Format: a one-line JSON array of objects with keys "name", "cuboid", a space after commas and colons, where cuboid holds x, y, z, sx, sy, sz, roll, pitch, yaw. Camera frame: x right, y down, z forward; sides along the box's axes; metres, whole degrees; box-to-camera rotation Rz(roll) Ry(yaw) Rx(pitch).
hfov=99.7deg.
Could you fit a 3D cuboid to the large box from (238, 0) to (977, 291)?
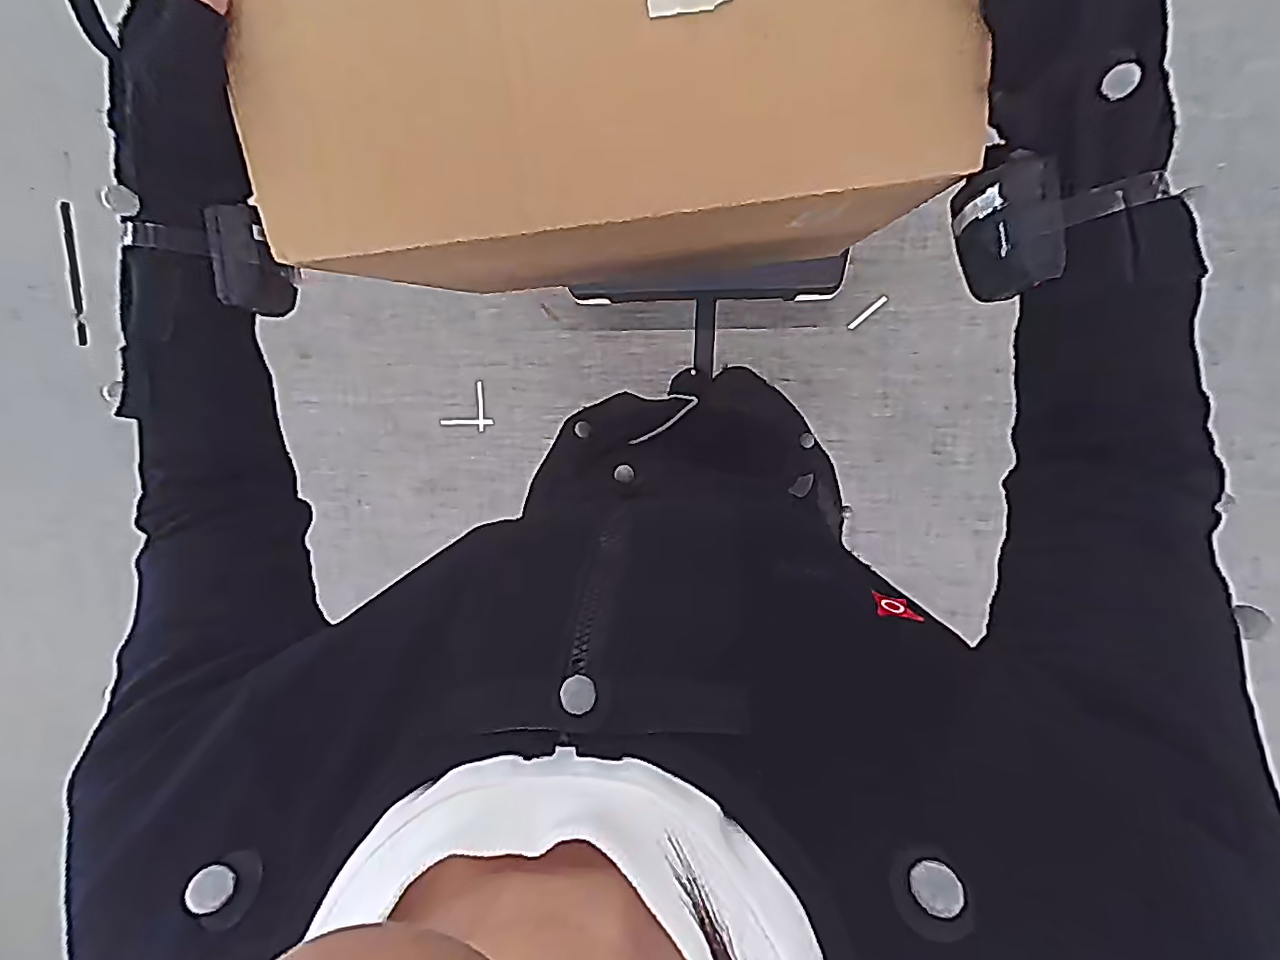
[{"name": "large box", "cuboid": [-0.020, -0.344, 0.422, 0.408, 0.320, 0.320, -4, 105, 7]}]
